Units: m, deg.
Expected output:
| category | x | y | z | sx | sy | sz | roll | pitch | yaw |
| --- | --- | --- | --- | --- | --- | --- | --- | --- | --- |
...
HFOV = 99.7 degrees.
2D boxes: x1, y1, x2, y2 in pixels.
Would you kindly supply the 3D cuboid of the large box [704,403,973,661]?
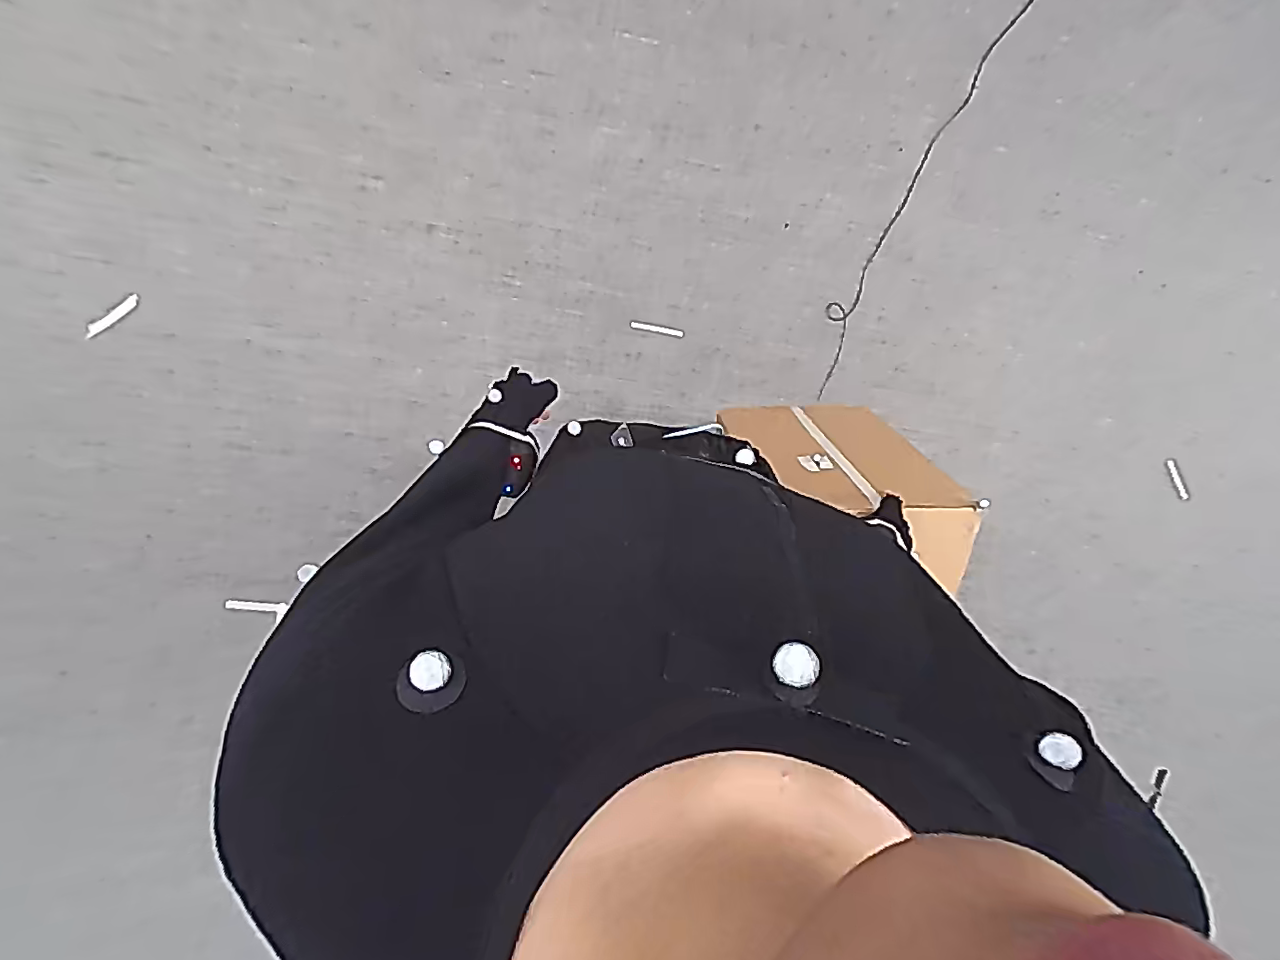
| category | x | y | z | sx | sy | sz | roll | pitch | yaw |
| --- | --- | --- | --- | --- | --- | --- | --- | --- | --- |
| large box | 0.314 | 0.076 | 1.013 | 0.320 | 0.408 | 0.320 | -1 | 120 | -3 |
